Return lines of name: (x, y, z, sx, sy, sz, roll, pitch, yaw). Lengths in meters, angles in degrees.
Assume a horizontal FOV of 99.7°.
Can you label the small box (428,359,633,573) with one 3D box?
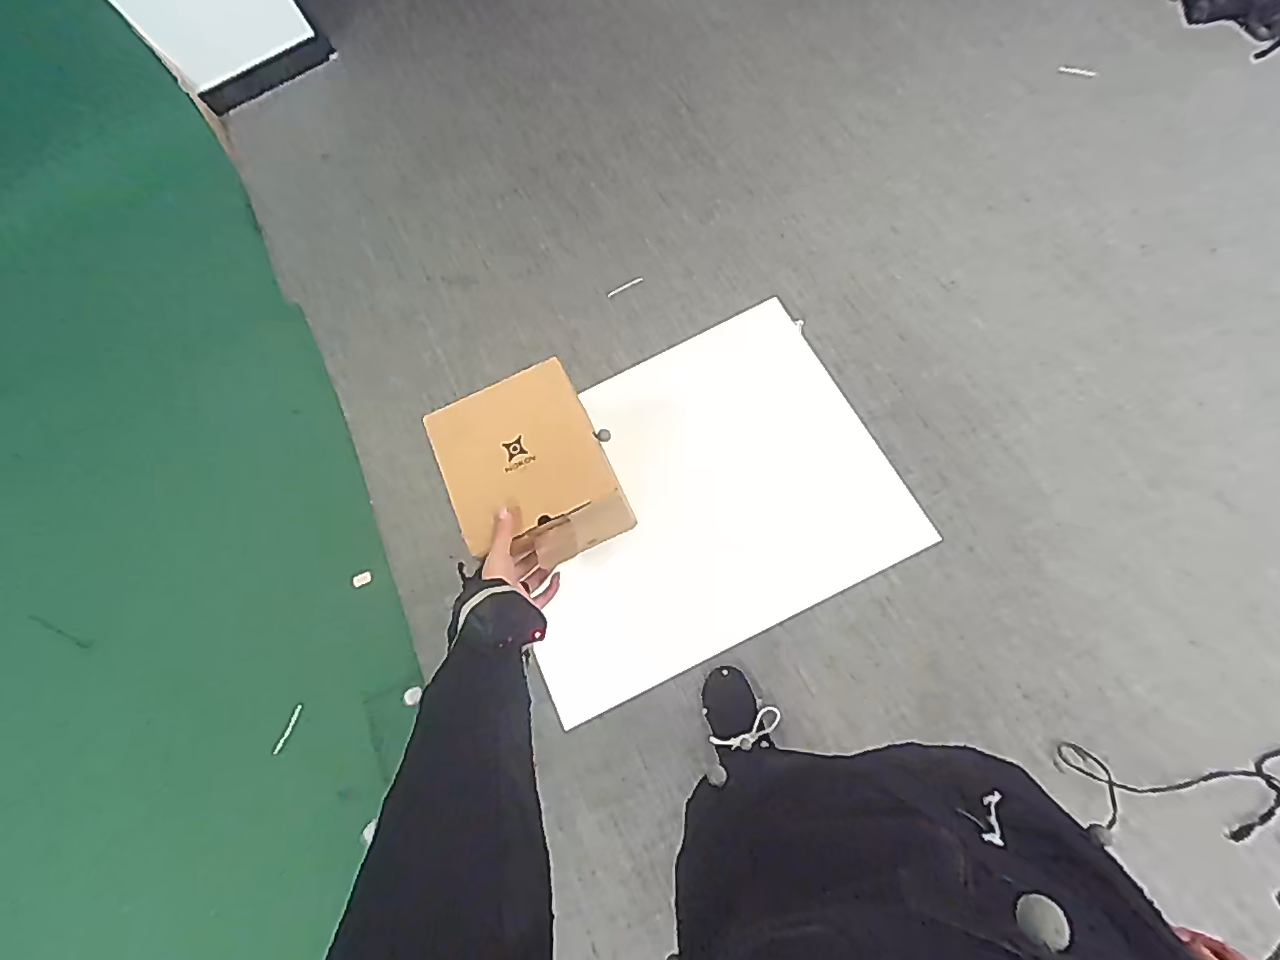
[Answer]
small box: (-0.119, -0.006, 0.647, 0.168, 0.176, 0.179, -25, 73, -2)
